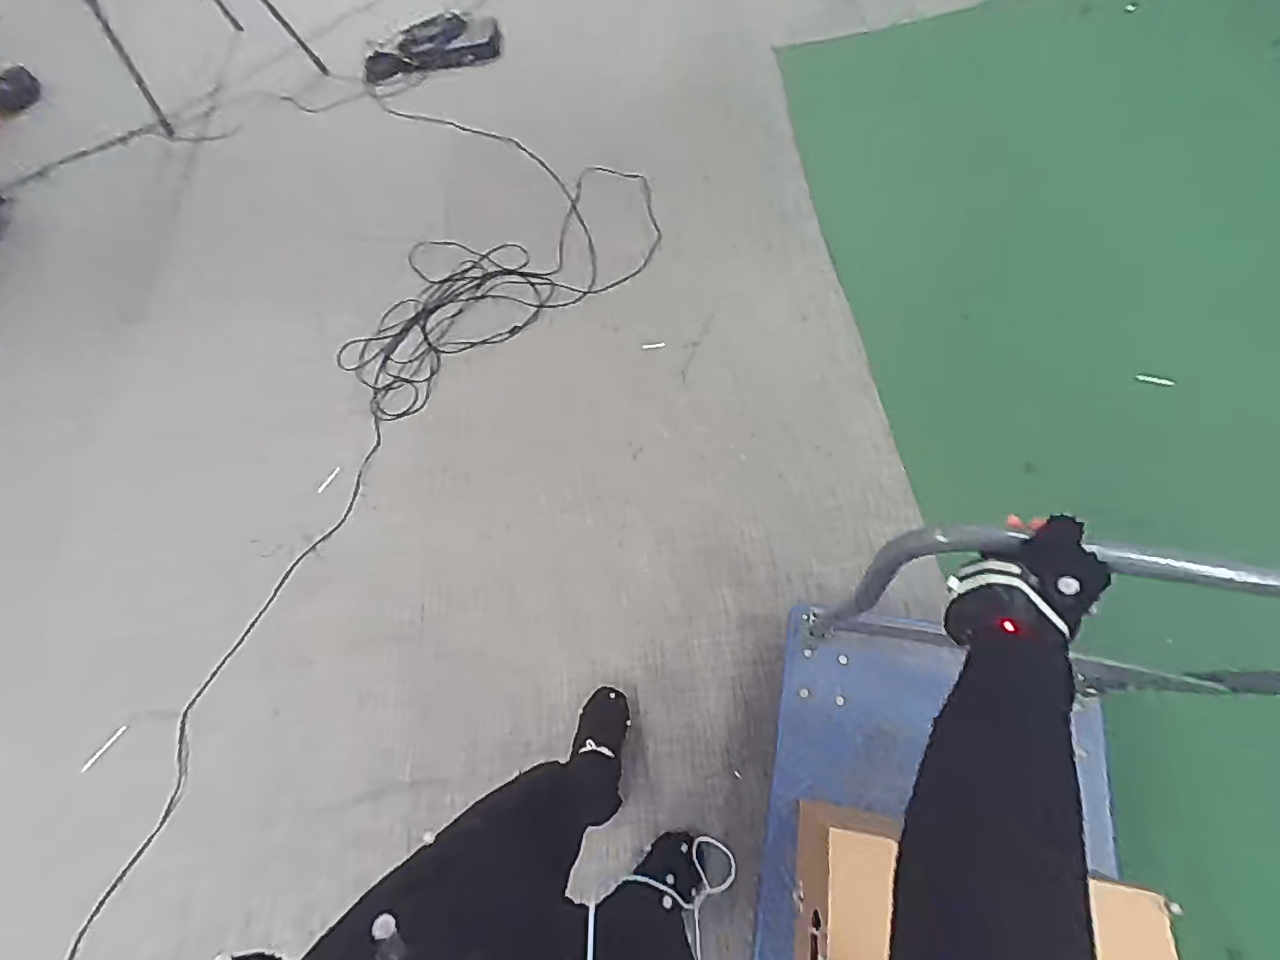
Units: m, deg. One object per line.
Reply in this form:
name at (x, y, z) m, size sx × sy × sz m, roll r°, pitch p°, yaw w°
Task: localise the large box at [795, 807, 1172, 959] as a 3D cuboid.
large box at (0.448, 0.695, 0.784) m, size 0.408 × 0.320 × 0.320 m, roll 5°, pitch 67°, yaw 10°
